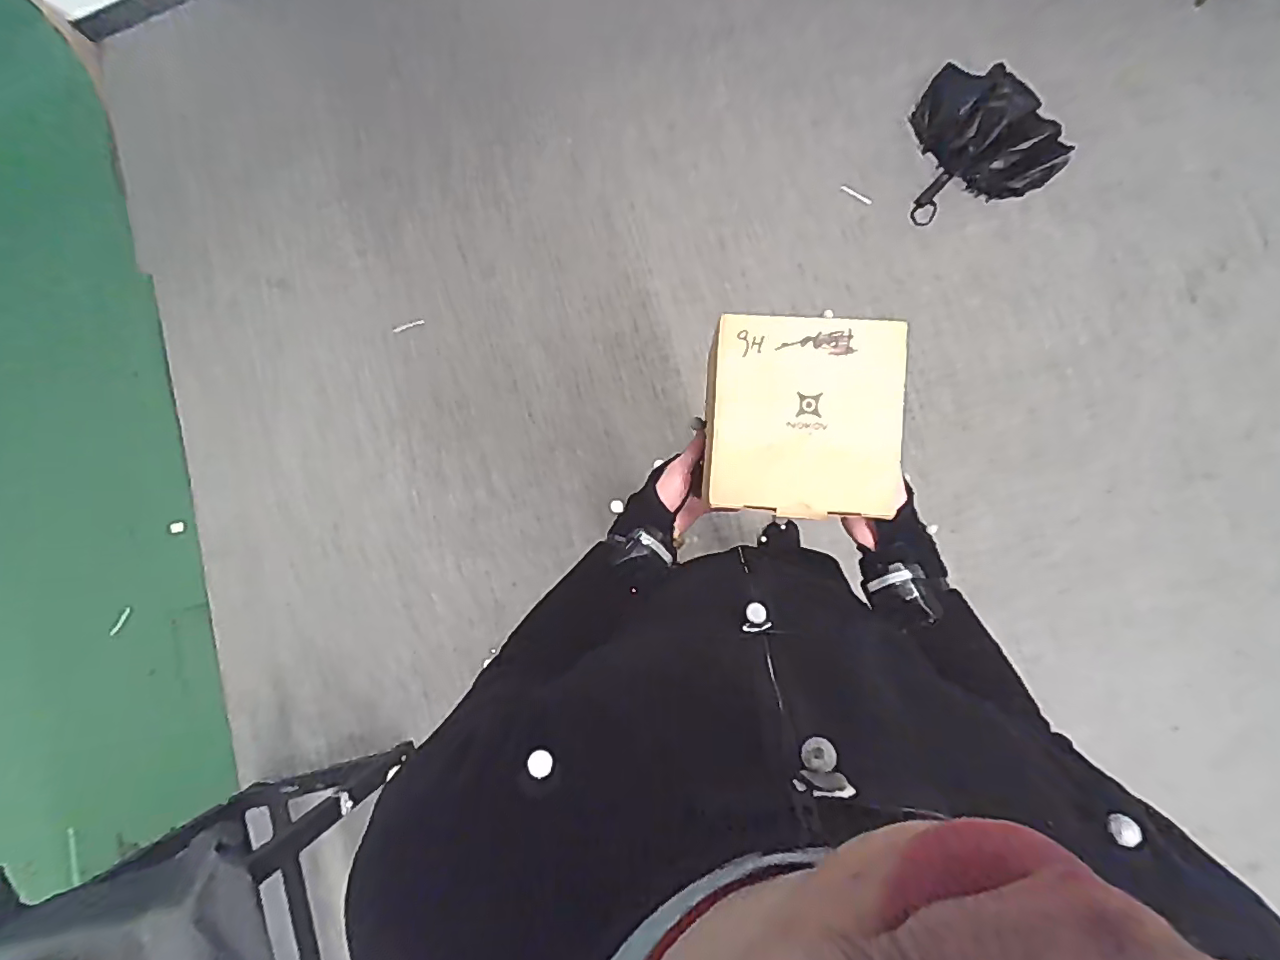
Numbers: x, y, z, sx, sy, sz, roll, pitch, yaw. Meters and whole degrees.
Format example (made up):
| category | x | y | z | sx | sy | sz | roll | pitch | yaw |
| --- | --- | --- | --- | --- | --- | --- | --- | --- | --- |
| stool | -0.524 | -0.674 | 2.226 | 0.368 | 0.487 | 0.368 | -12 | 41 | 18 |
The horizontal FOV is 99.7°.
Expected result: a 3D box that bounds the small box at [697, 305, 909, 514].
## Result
| category | x | y | z | sx | sy | sz | roll | pitch | yaw |
| --- | --- | --- | --- | --- | --- | --- | --- | --- | --- |
| small box | 0.148 | -0.063 | 0.550 | 0.168 | 0.176 | 0.179 | 4 | 90 | 2 |
